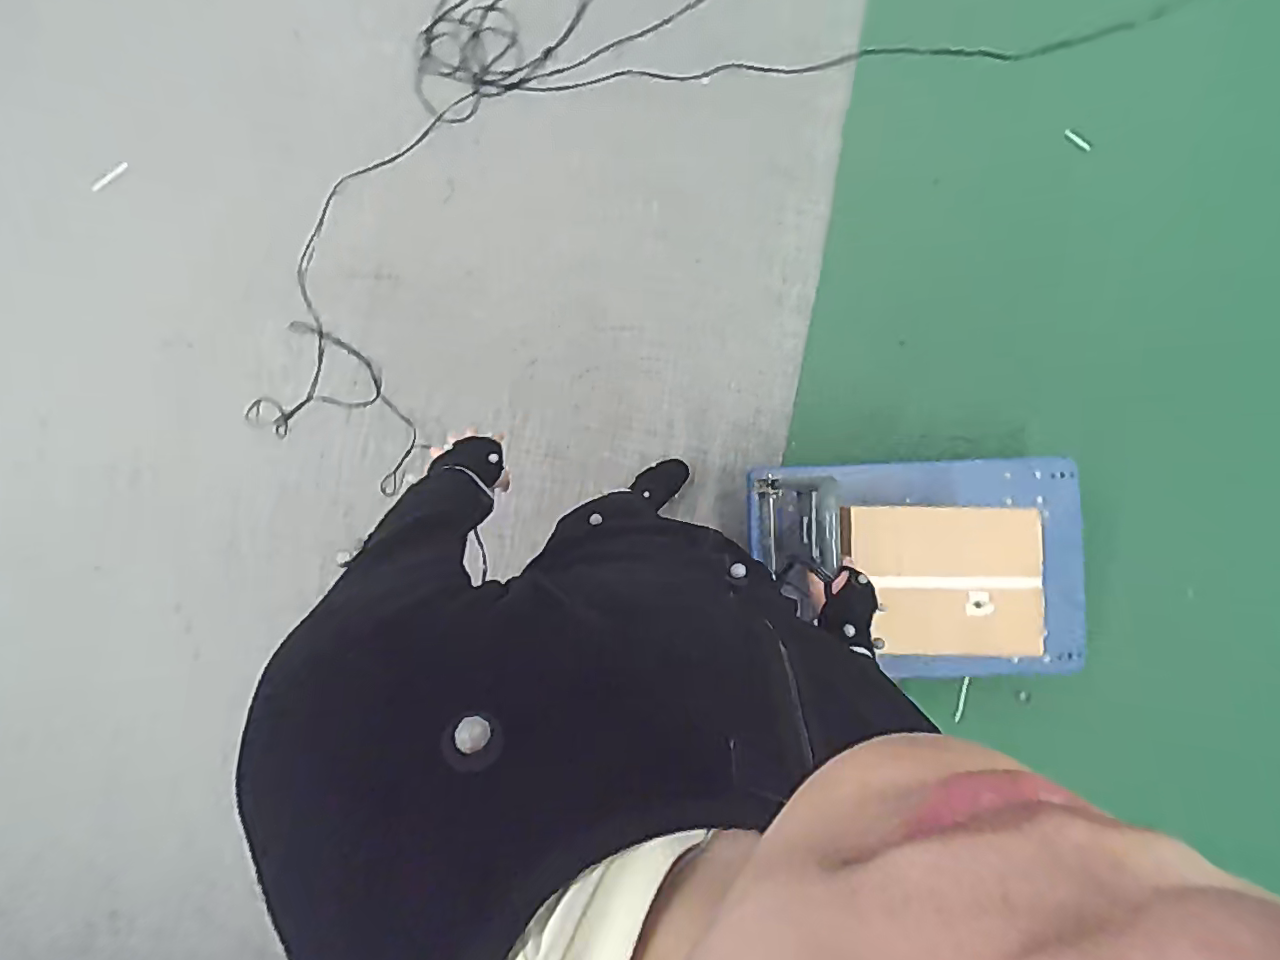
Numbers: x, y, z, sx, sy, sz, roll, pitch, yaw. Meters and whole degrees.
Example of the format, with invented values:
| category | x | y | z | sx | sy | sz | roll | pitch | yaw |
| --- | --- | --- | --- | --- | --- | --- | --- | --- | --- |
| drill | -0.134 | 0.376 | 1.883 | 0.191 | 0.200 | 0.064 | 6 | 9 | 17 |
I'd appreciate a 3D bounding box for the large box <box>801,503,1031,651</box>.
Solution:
| category | x | y | z | sx | sy | sz | roll | pitch | yaw |
| --- | --- | --- | --- | --- | --- | --- | --- | --- | --- |
| large box | 0.630 | 0.212 | 1.299 | 0.408 | 0.320 | 0.320 | 1 | 89 | 0 |
